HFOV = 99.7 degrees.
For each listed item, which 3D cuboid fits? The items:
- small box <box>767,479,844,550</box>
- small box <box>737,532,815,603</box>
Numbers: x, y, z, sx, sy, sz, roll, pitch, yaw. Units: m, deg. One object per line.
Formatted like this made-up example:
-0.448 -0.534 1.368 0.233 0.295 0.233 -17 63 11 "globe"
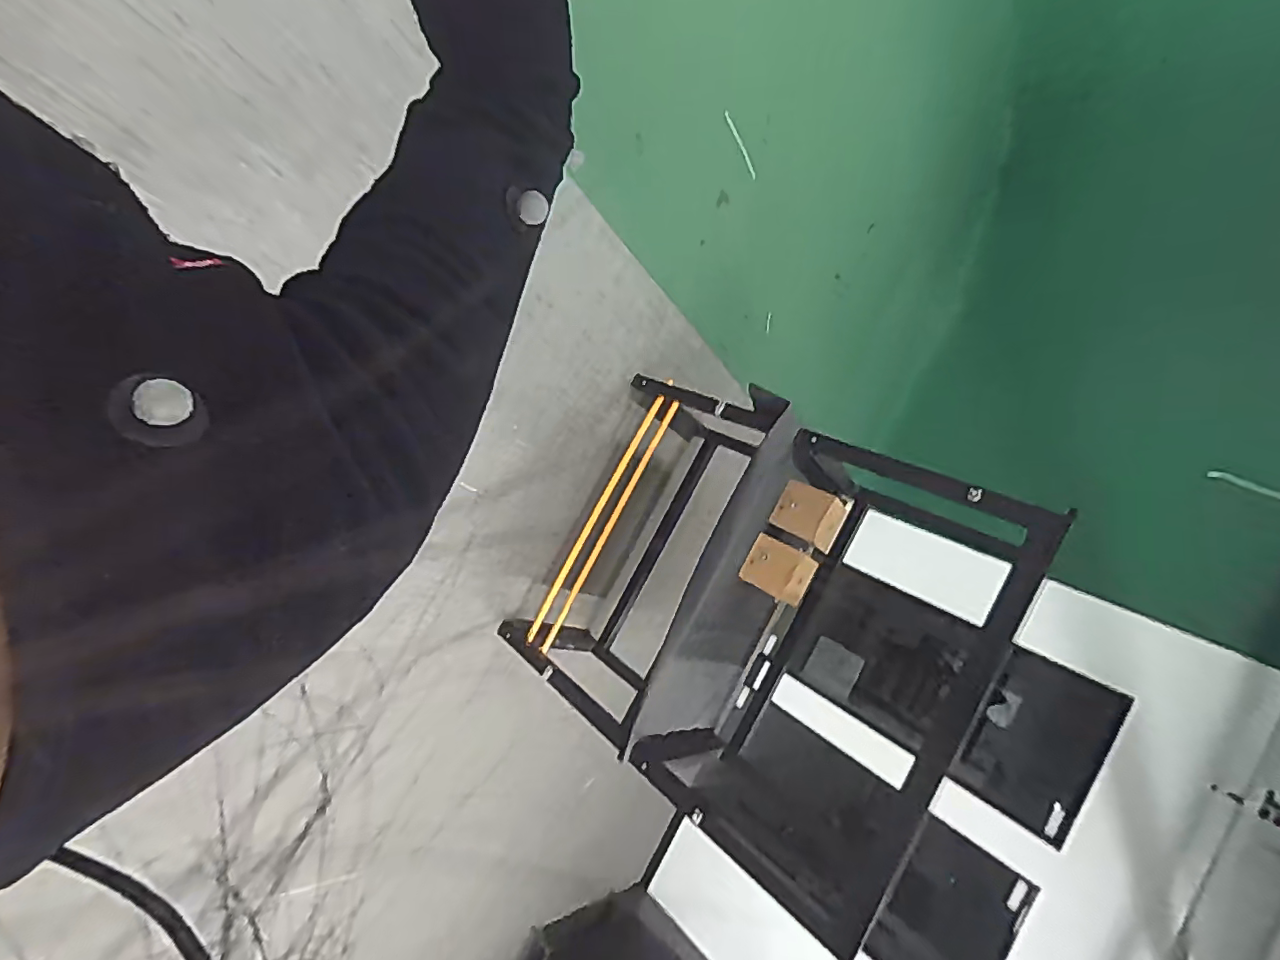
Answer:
0.560 0.114 1.831 0.179 0.176 0.168 30 87 -53 "small box"
0.456 0.293 1.821 0.179 0.176 0.168 31 87 -53 "small box"
